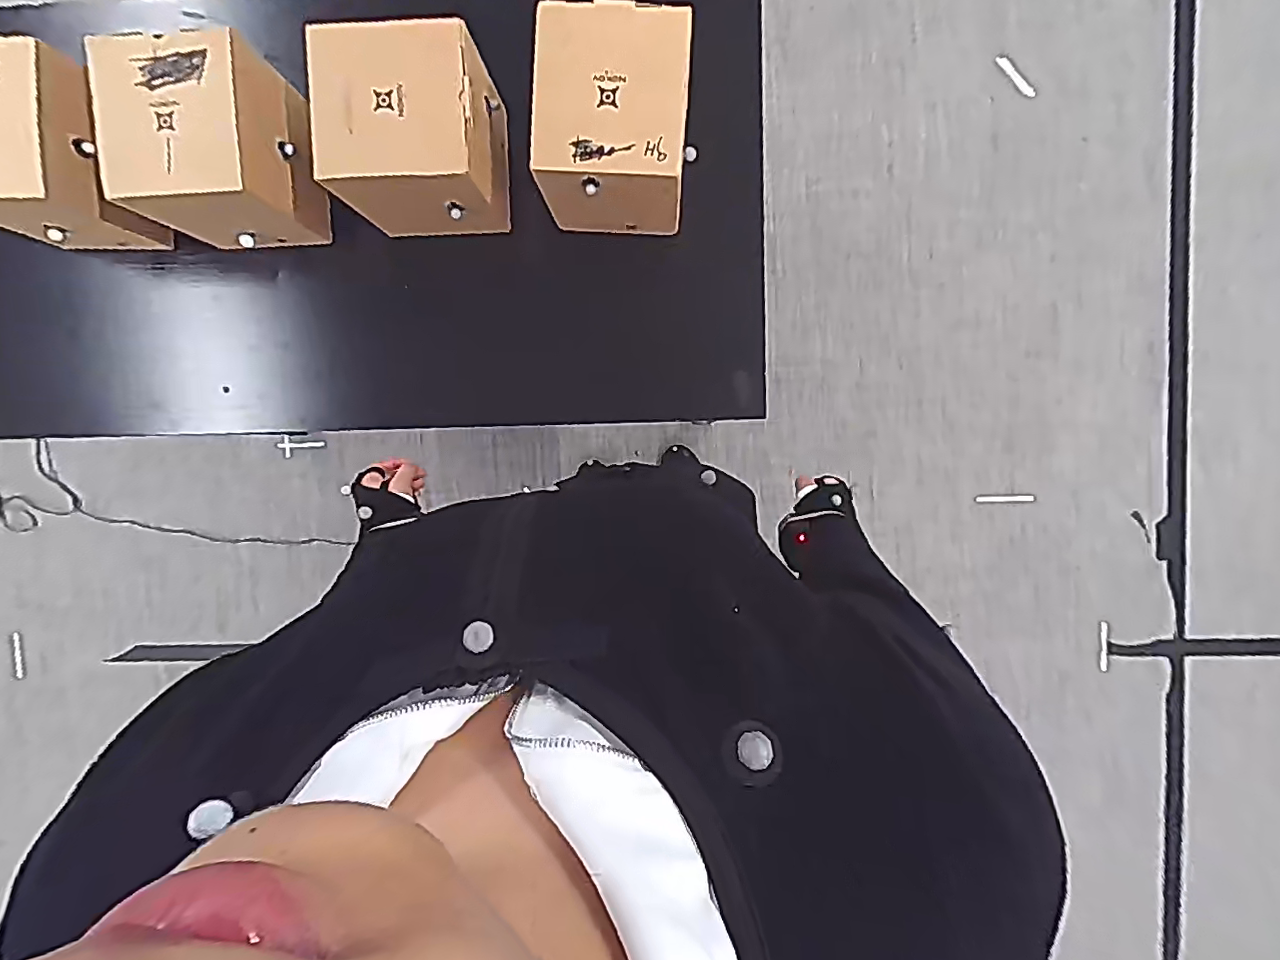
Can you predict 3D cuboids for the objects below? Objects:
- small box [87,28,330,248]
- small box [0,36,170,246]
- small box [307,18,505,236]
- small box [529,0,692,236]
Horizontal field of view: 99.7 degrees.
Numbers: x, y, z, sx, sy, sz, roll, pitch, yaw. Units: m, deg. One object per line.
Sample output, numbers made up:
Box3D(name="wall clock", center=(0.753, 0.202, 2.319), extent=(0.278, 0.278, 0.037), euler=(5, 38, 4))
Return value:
Box3D(name="small box", center=(-0.519, -0.411, 0.677), extent=(0.168, 0.176, 0.179), euler=(-3, 95, 2))
Box3D(name="small box", center=(-0.744, -0.412, 0.685), extent=(0.168, 0.176, 0.179), euler=(1, 94, 1))
Box3D(name="small box", center=(-0.271, -0.419, 0.669), extent=(0.179, 0.176, 0.168), euler=(-1, 92, 3))
Box3D(name="small box", center=(-0.030, -0.423, 0.657), extent=(0.168, 0.176, 0.179), euler=(4, 93, 2))
